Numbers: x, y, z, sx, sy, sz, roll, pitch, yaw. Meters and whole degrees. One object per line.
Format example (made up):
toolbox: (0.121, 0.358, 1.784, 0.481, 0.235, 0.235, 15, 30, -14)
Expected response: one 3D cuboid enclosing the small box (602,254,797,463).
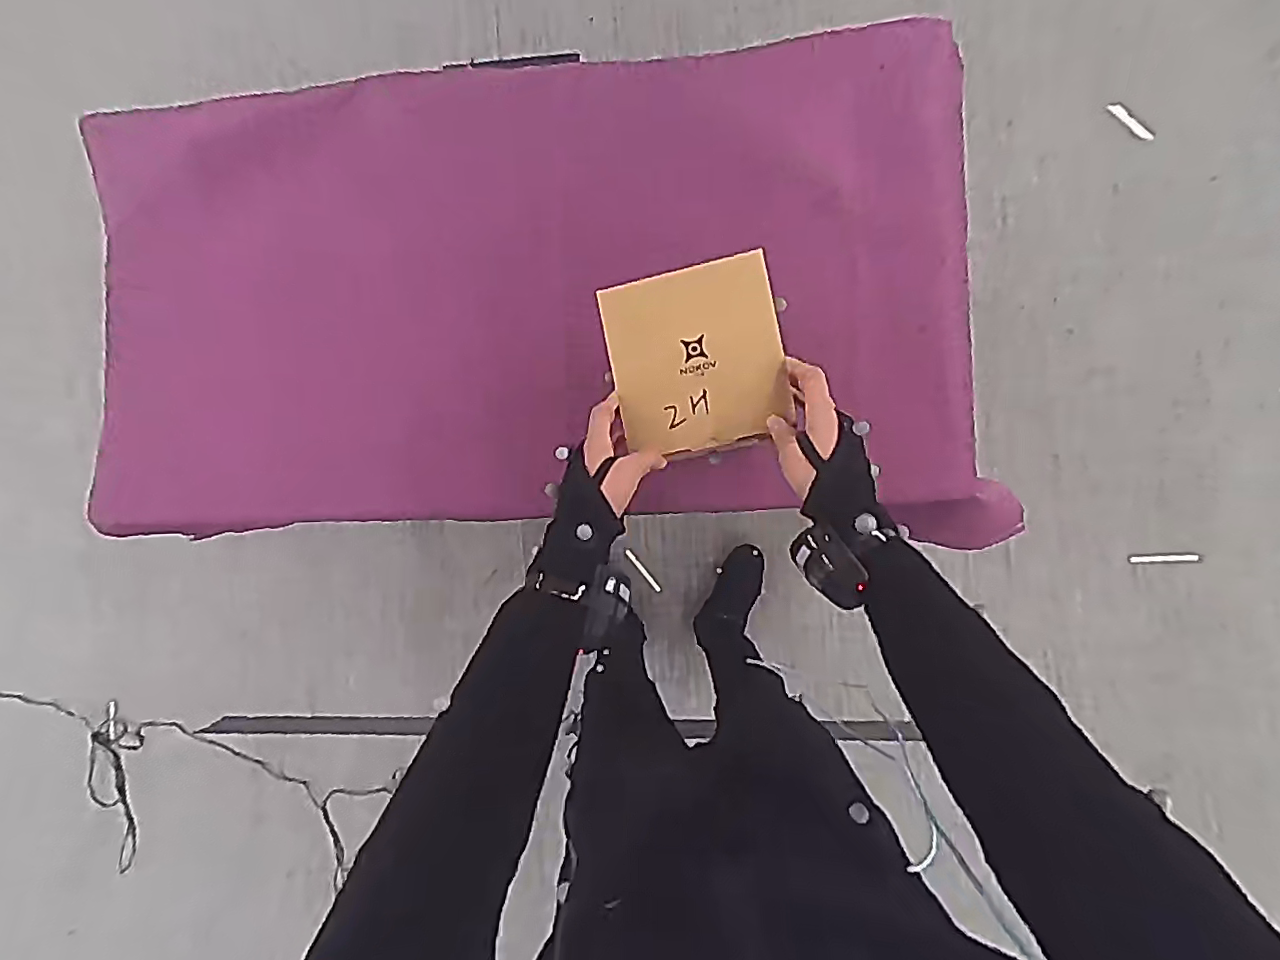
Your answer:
small box: (0.066, -0.118, 0.603, 0.168, 0.176, 0.179, -11, 90, 9)
